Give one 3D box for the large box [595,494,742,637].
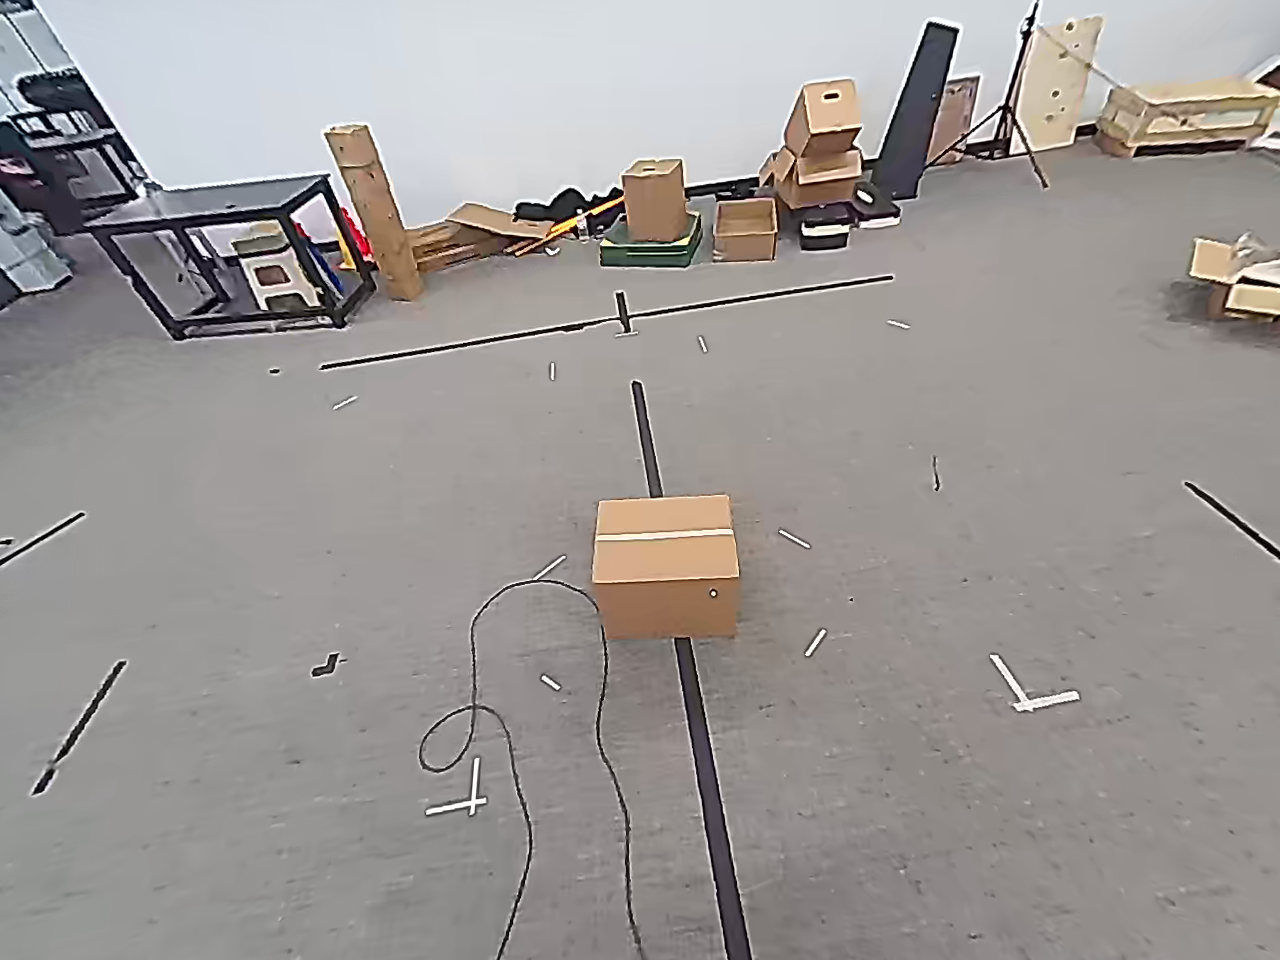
[{"bbox_3d":[0.090,0.268,1.671,0.408,0.320,0.320,-3,44,4],"label":"large box"}]
